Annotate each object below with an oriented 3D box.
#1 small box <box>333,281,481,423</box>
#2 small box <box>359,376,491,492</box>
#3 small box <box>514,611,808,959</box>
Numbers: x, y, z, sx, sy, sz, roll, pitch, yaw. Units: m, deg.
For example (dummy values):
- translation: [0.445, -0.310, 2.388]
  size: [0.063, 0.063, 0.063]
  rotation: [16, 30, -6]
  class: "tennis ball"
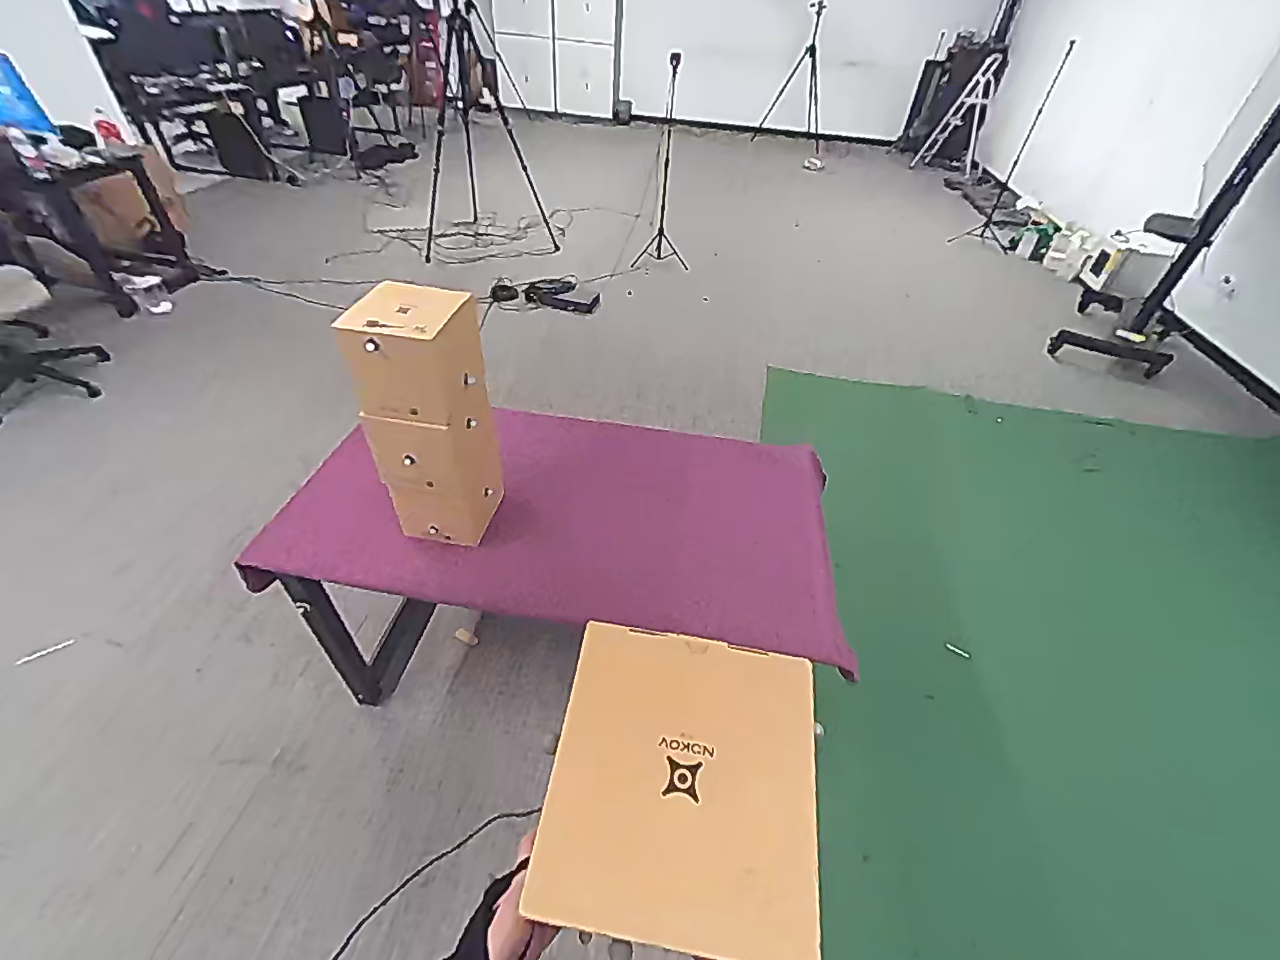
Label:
- translation: [-0.390, -0.224, 0.944]
  size: [0.168, 0.176, 0.179]
  rotation: [8, 43, 4]
  class: "small box"
- translation: [-0.402, -0.098, 1.050]
  size: [0.168, 0.176, 0.179]
  rotation: [10, 43, 5]
  class: "small box"
- translation: [0.023, 0.224, 0.404]
  size: [0.168, 0.176, 0.179]
  rotation: [8, 51, 5]
  class: "small box"
